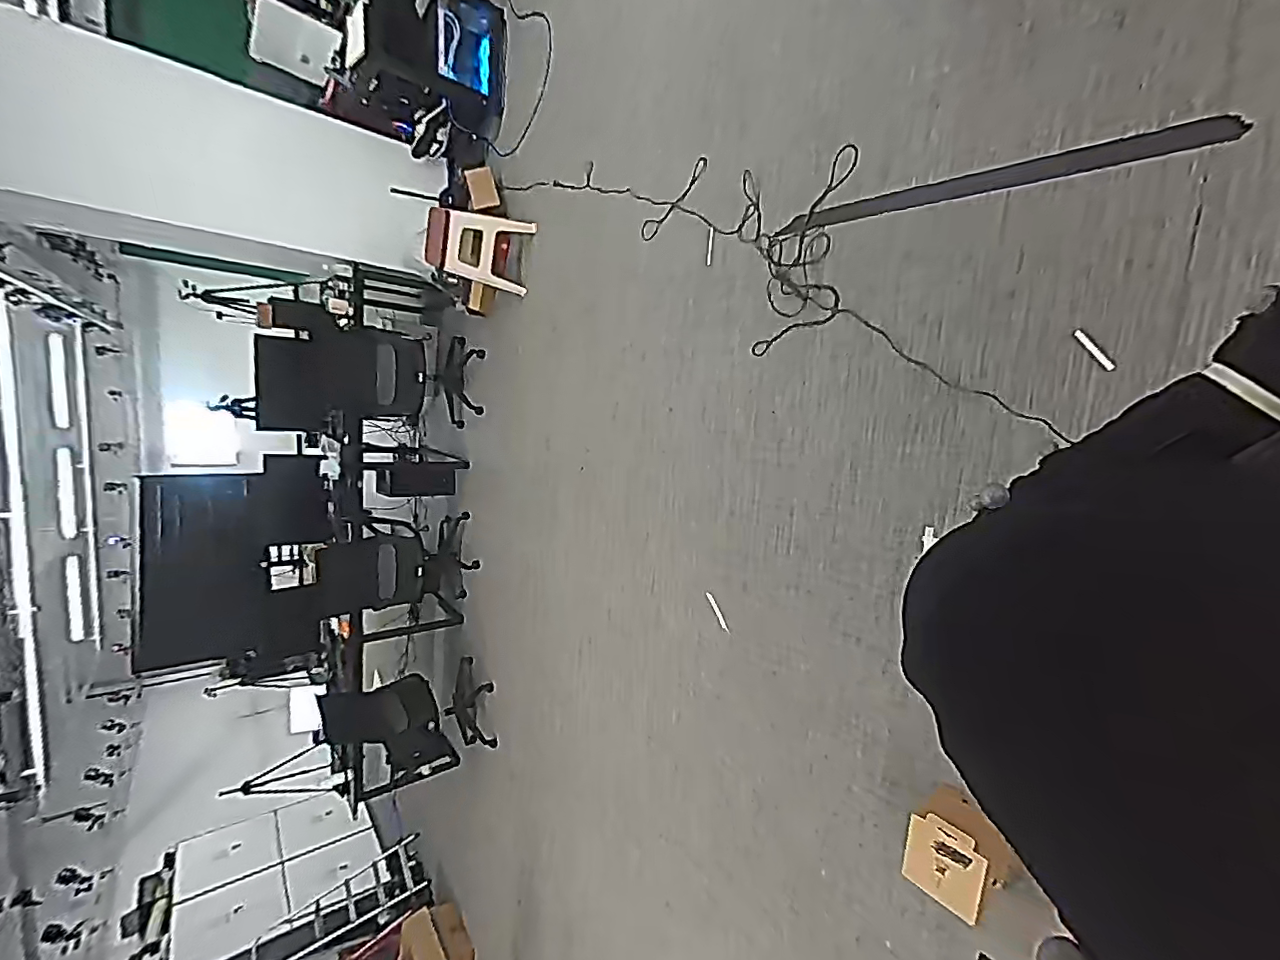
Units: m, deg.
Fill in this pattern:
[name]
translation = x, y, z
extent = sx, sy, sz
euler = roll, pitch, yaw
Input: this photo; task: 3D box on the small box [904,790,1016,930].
[small box]
translation = 0.753, 0.875, 1.268
extent = 0.168, 0.176, 0.179
euler = 16, 105, 51
